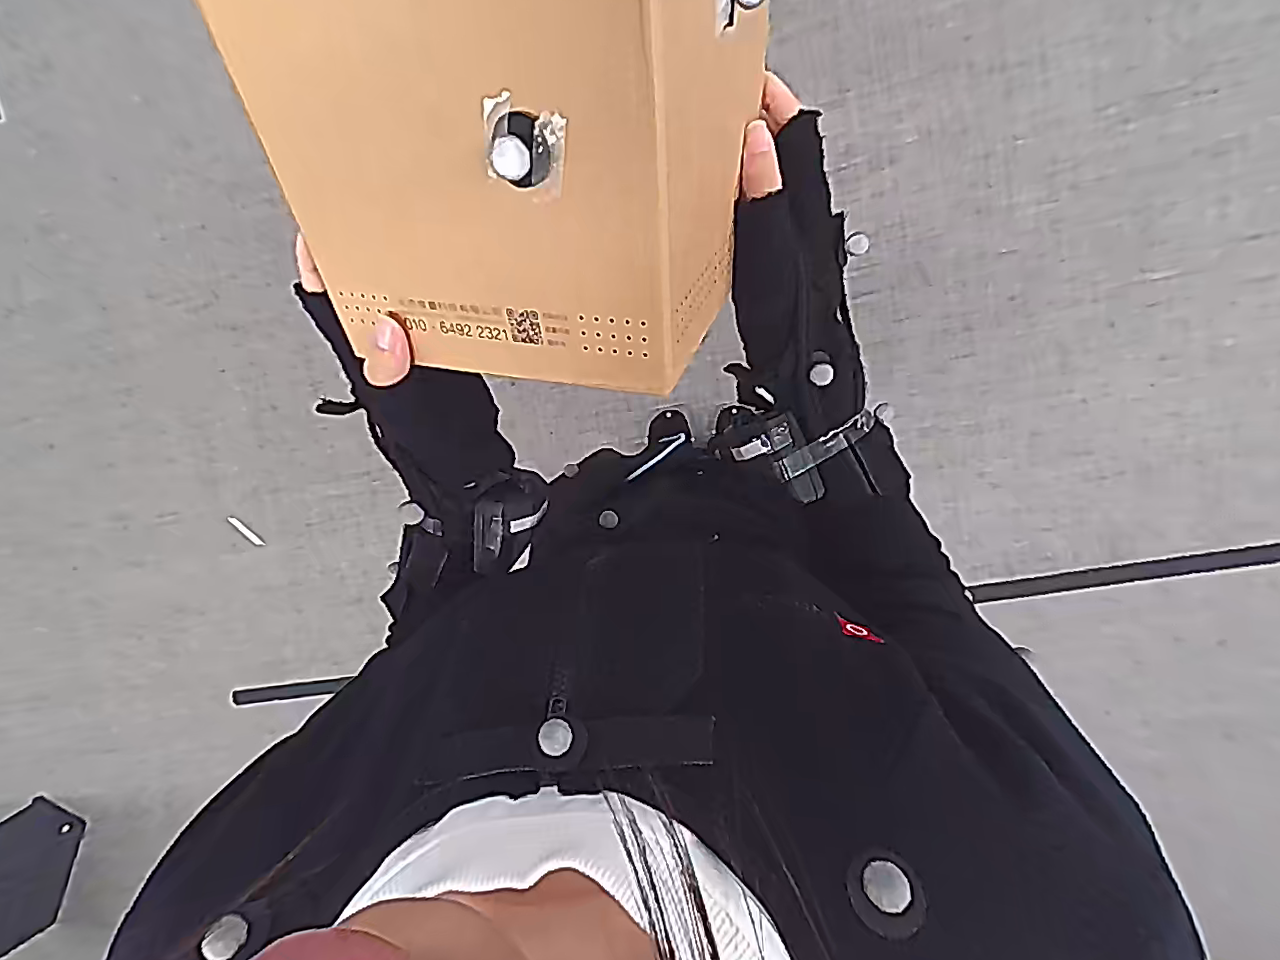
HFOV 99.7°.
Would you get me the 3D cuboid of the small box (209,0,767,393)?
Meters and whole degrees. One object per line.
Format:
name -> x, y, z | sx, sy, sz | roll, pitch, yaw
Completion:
small box -> -0.037, -0.159, 0.256 | 0.168, 0.179, 0.176 | 11, 133, 18
